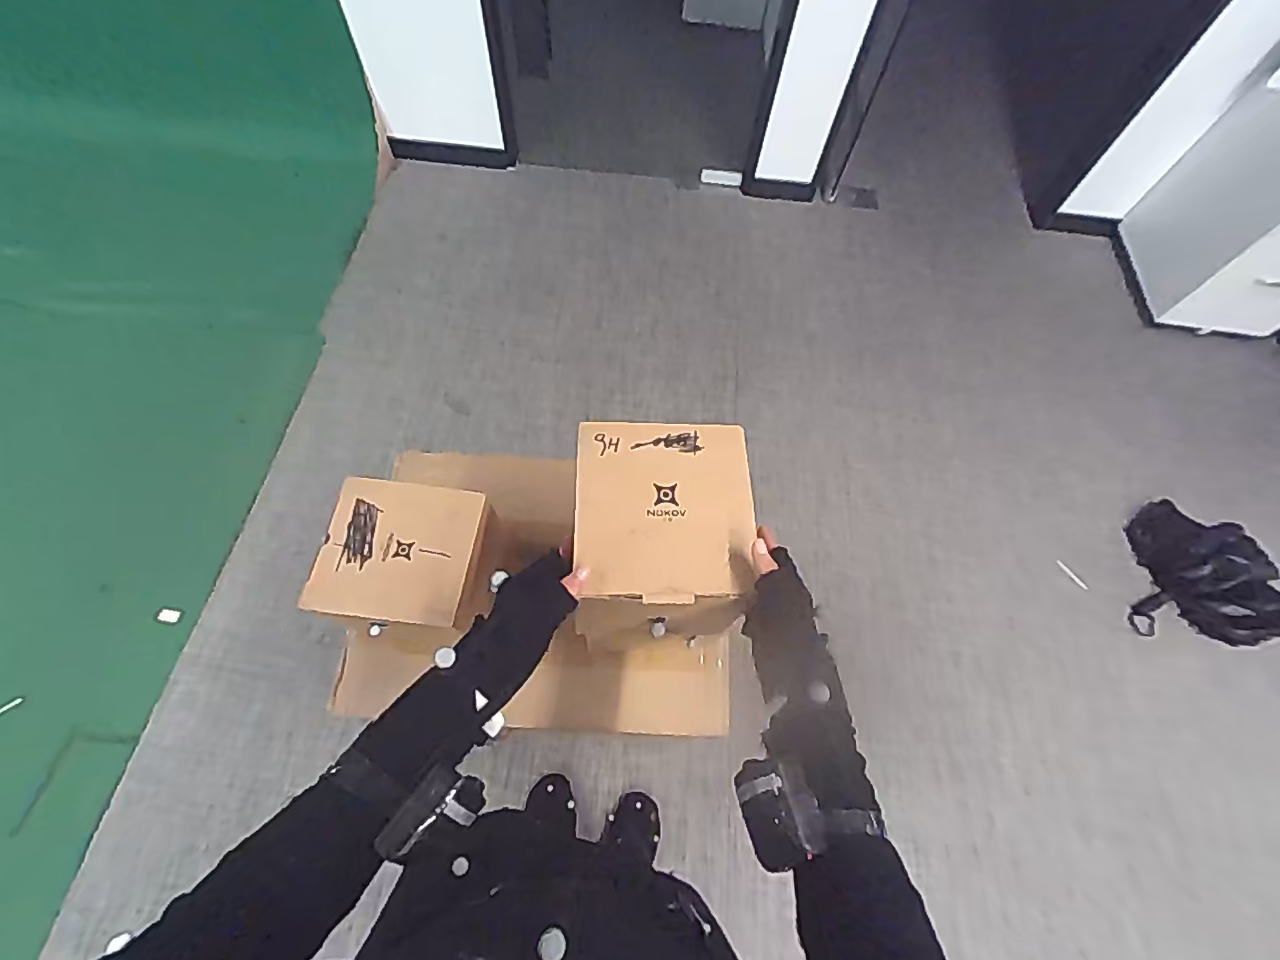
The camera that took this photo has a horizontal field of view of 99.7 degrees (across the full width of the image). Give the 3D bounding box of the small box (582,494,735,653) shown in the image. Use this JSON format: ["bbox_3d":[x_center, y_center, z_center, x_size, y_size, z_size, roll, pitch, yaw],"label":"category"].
[{"bbox_3d":[0.015,0.130,0.722,0.179,0.176,0.168,-4,64,-4],"label":"small box"}]

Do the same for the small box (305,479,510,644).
[{"bbox_3d":[-0.285,0.114,0.710,0.179,0.176,0.168,7,65,0],"label":"small box"}]
